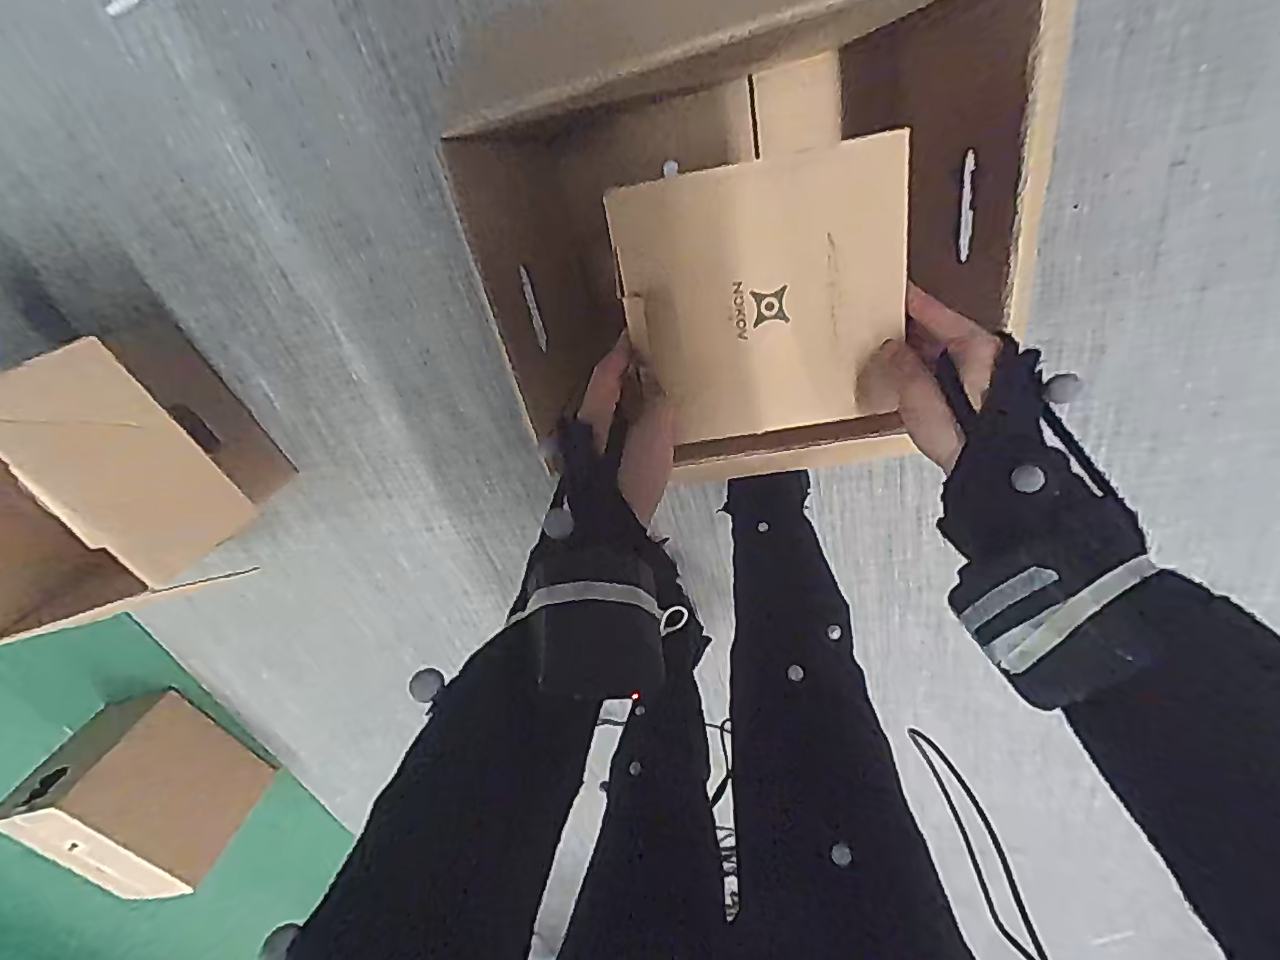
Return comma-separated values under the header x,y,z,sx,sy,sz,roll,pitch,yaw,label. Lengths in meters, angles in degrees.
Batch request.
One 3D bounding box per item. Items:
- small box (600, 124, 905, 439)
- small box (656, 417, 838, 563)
x,y,z,sx,sy,sz,roll,pitch,yaw,label
0.076,-0.145,0.411,0.179,0.176,0.168,-9,114,5,small box
0.146,0.001,0.744,0.179,0.168,0.176,23,147,-18,small box
